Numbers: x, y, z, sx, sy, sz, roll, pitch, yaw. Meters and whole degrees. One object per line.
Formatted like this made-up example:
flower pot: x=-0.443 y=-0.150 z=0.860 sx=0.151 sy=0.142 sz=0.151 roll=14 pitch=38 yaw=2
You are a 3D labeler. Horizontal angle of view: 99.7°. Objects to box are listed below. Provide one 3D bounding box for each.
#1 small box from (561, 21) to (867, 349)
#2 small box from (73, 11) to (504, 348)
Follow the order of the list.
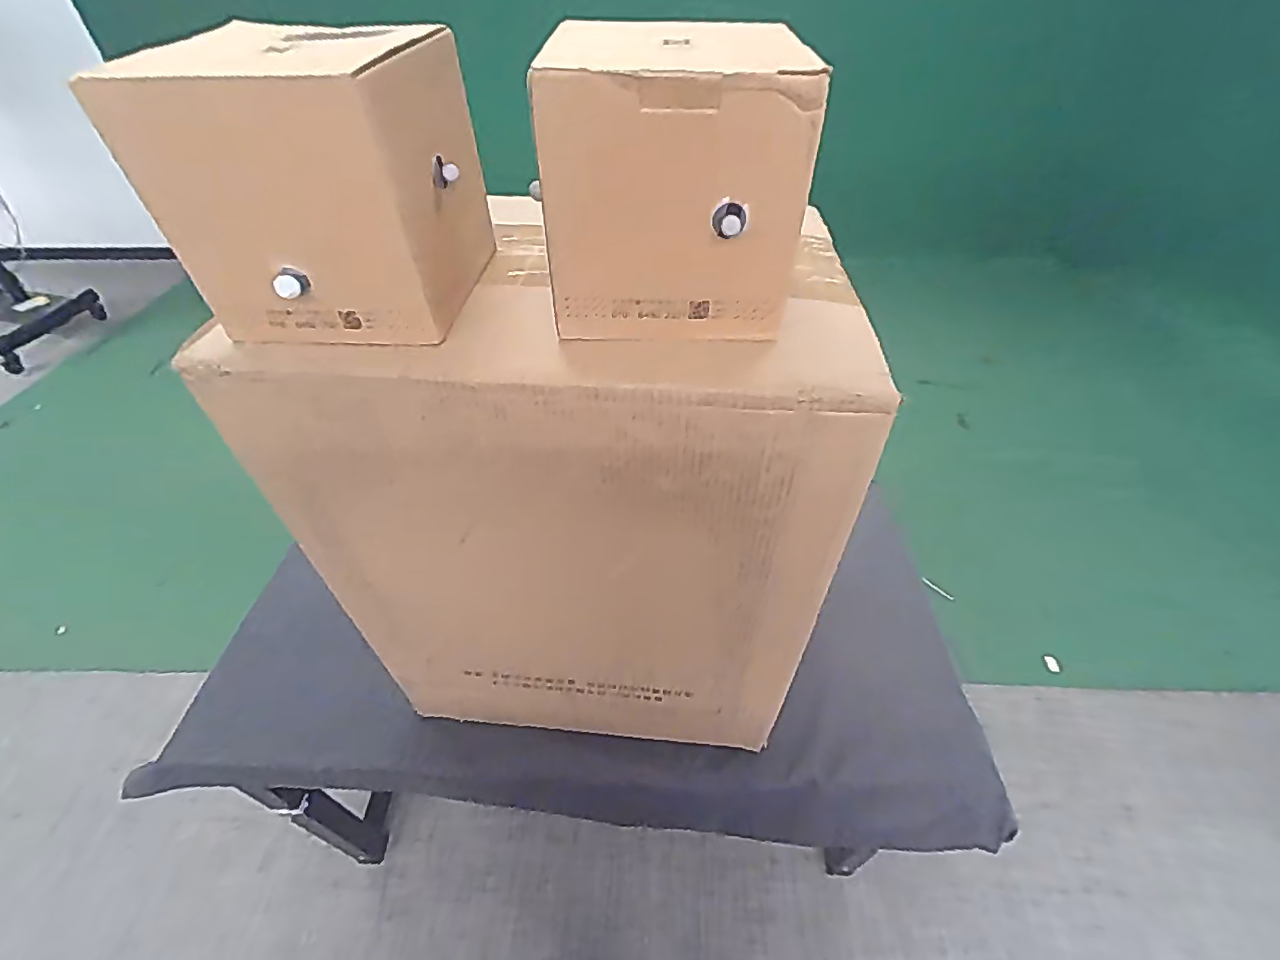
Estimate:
small box: x=0.038 y=-0.213 z=0.397 sx=0.168 sy=0.176 sz=0.179 roll=2 pitch=46 yaw=-2
small box: x=-0.209 y=-0.218 z=0.392 sx=0.168 sy=0.176 sz=0.179 roll=4 pitch=47 yaw=5
